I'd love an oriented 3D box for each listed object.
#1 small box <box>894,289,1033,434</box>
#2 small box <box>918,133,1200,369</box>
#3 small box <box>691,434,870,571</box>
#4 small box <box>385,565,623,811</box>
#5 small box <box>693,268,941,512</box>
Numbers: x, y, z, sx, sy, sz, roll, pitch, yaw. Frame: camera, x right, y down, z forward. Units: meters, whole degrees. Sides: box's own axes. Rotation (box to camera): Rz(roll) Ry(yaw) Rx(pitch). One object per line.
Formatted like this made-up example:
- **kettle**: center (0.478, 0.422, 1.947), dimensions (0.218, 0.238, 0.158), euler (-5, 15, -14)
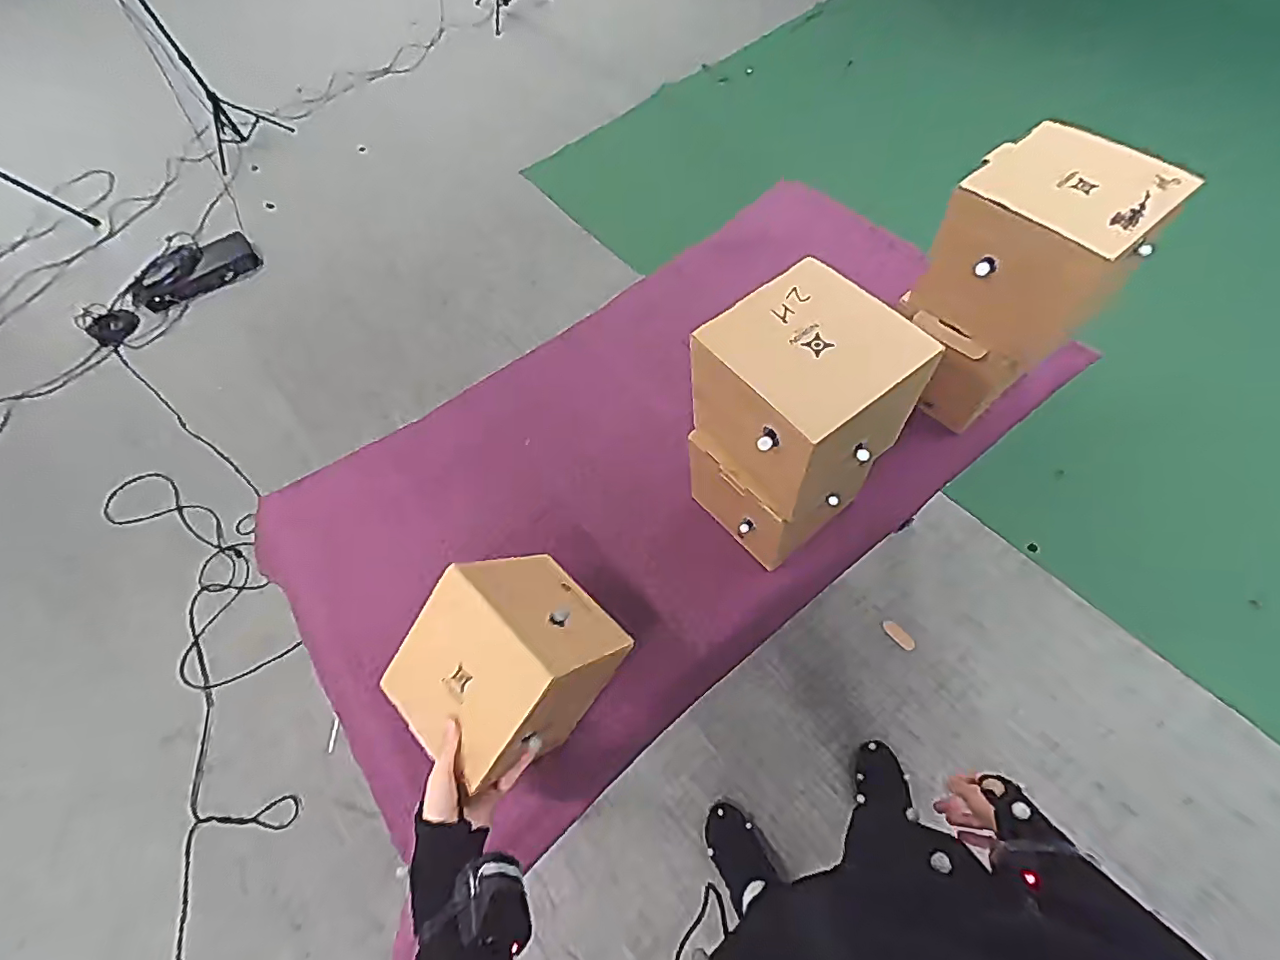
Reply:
- **small box**: center (0.485, -0.201, 0.799), dimensions (0.179, 0.176, 0.168), euler (-39, 64, -14)
- **small box**: center (0.474, -0.267, 0.648), dimensions (0.168, 0.176, 0.179), euler (-37, 62, -12)
- **small box**: center (0.191, -0.006, 0.734), dimensions (0.179, 0.176, 0.168), euler (-37, 62, -13)
- **small box**: center (-0.144, 0.215, 0.616), dimensions (0.168, 0.176, 0.179), euler (39, 106, 24)
- **small box**: center (0.177, -0.086, 0.592), dimensions (0.168, 0.176, 0.179), euler (-34, 62, -11)
